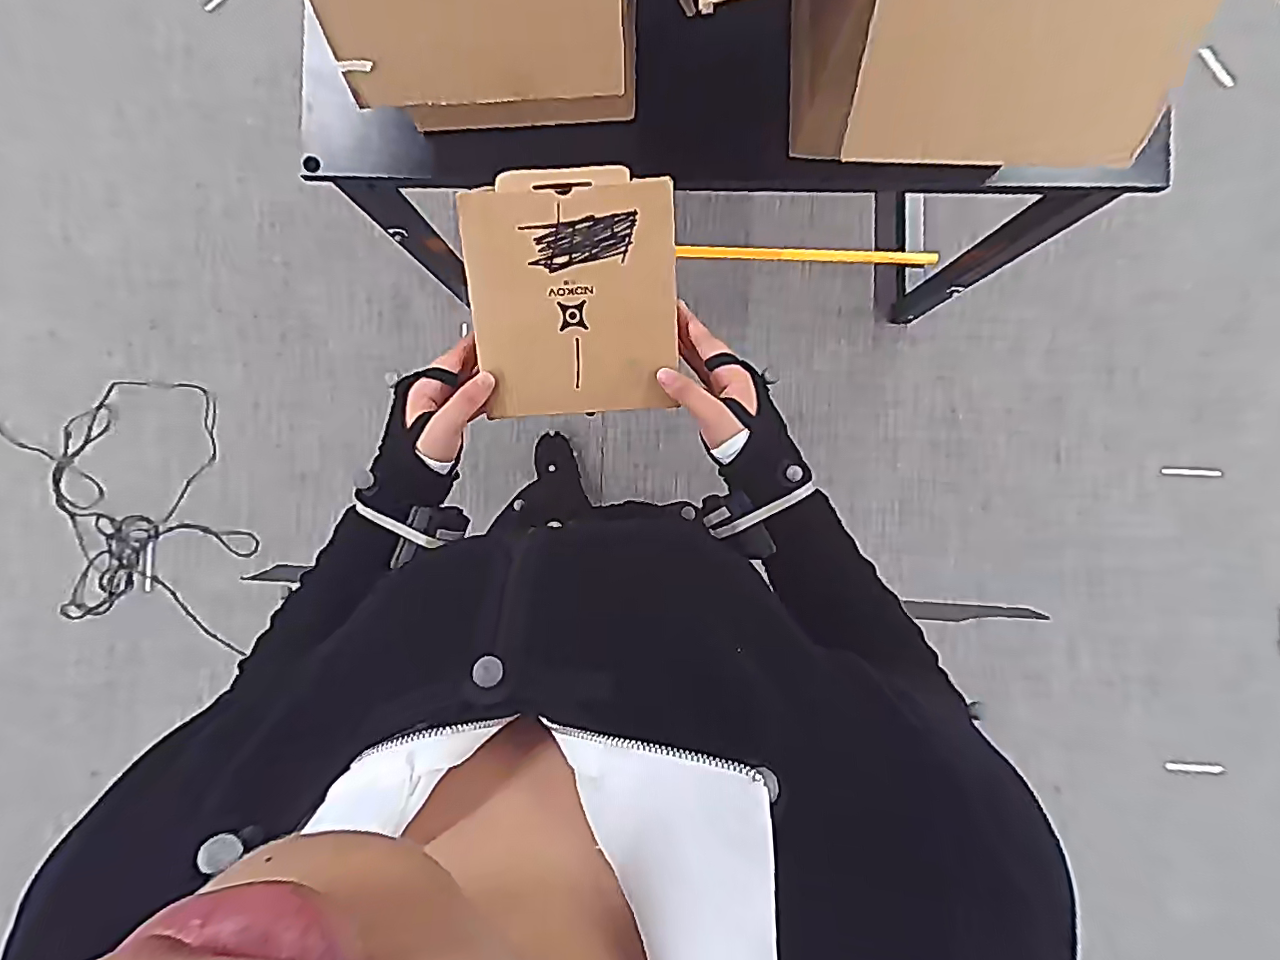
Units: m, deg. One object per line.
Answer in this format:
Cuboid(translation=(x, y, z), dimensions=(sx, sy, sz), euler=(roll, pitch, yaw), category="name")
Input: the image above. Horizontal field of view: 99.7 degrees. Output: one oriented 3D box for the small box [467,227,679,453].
Cuboid(translation=(-0.052, -0.130, 0.520), dimensions=(0.168, 0.176, 0.179), euler=(-3, 105, 1), category="small box")
